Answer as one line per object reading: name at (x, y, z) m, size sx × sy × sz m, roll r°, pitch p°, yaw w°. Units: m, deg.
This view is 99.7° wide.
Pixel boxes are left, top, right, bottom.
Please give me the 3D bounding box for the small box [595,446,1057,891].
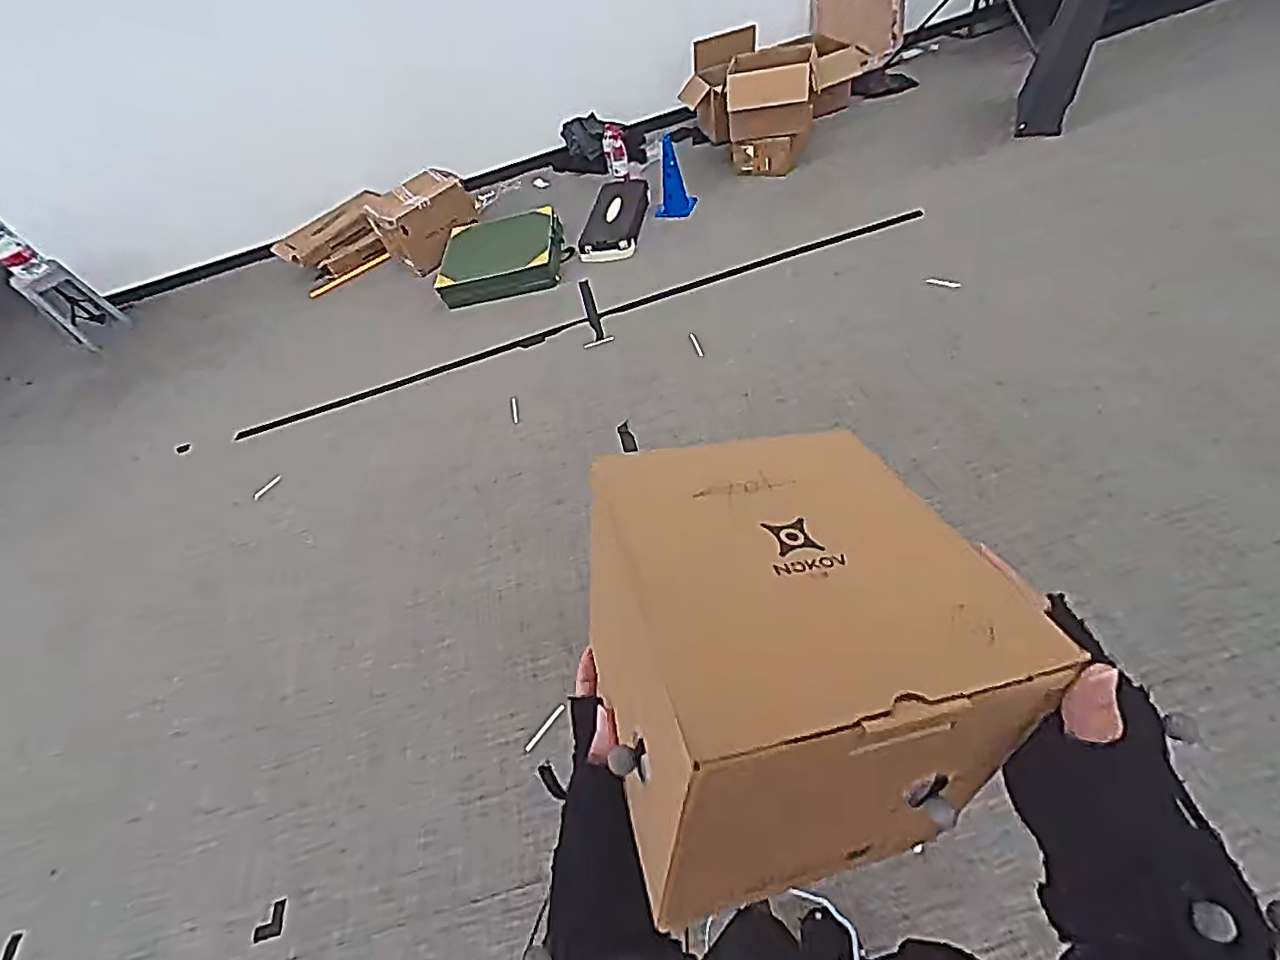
small box at (0.071, 0.103, 0.316) m, size 0.168 × 0.176 × 0.179 m, roll -7°, pitch 37°, yaw -14°
